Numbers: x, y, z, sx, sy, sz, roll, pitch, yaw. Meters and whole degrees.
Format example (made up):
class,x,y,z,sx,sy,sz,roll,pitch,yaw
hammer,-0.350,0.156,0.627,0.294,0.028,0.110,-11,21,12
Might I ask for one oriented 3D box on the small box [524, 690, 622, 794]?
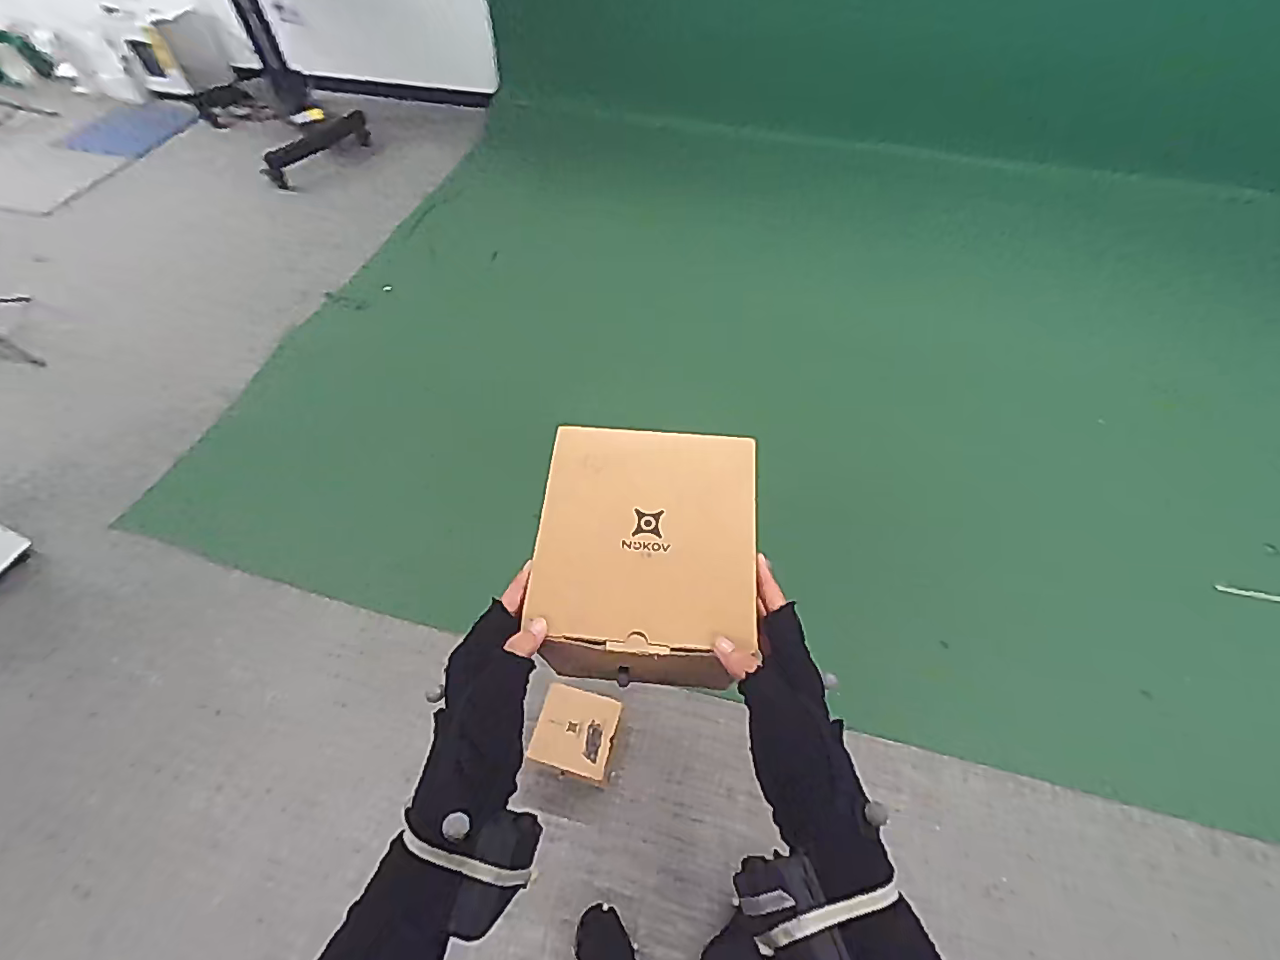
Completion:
class,x,y,z,sx,sy,sz,roll,pitch,yaw
small box,-0.144,0.610,1.250,0.179,0.176,0.168,12,55,9

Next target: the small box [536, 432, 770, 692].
class,x,y,z,sx,sy,sz,roll,pitch,yaw
small box,0.016,0.079,0.480,0.168,0.176,0.179,4,63,3
